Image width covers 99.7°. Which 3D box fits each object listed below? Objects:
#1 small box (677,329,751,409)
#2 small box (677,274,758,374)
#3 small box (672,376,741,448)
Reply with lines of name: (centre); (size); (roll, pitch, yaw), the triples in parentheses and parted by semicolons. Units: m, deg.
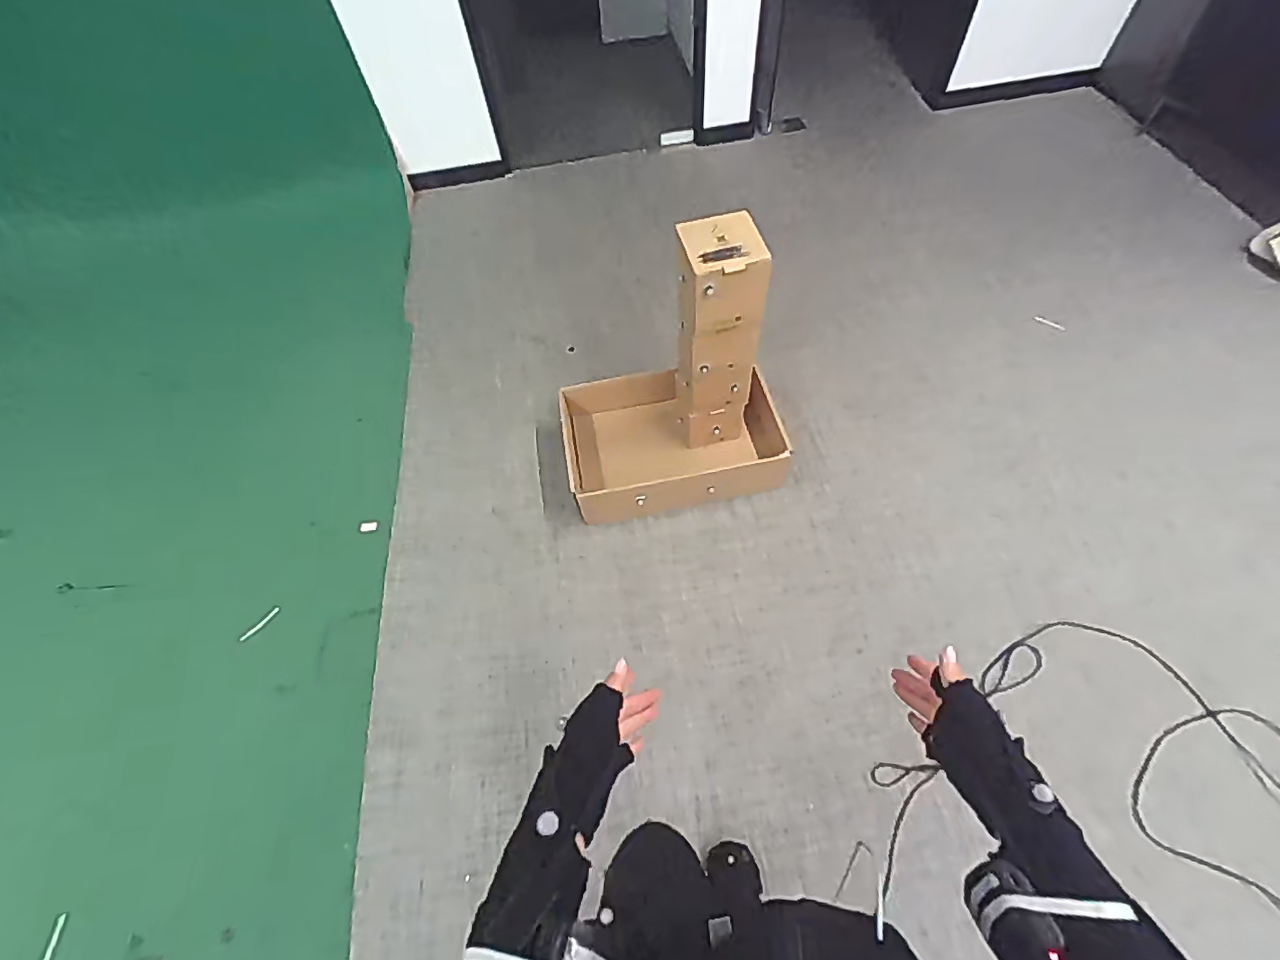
small box: (0.201, -0.314, 1.494); (0.168, 0.176, 0.179); (-11, 59, -1)
small box: (0.190, -0.384, 1.365); (0.168, 0.176, 0.179); (-10, 59, -2)
small box: (0.201, -0.216, 1.648); (0.168, 0.176, 0.179); (-15, 58, -3)
